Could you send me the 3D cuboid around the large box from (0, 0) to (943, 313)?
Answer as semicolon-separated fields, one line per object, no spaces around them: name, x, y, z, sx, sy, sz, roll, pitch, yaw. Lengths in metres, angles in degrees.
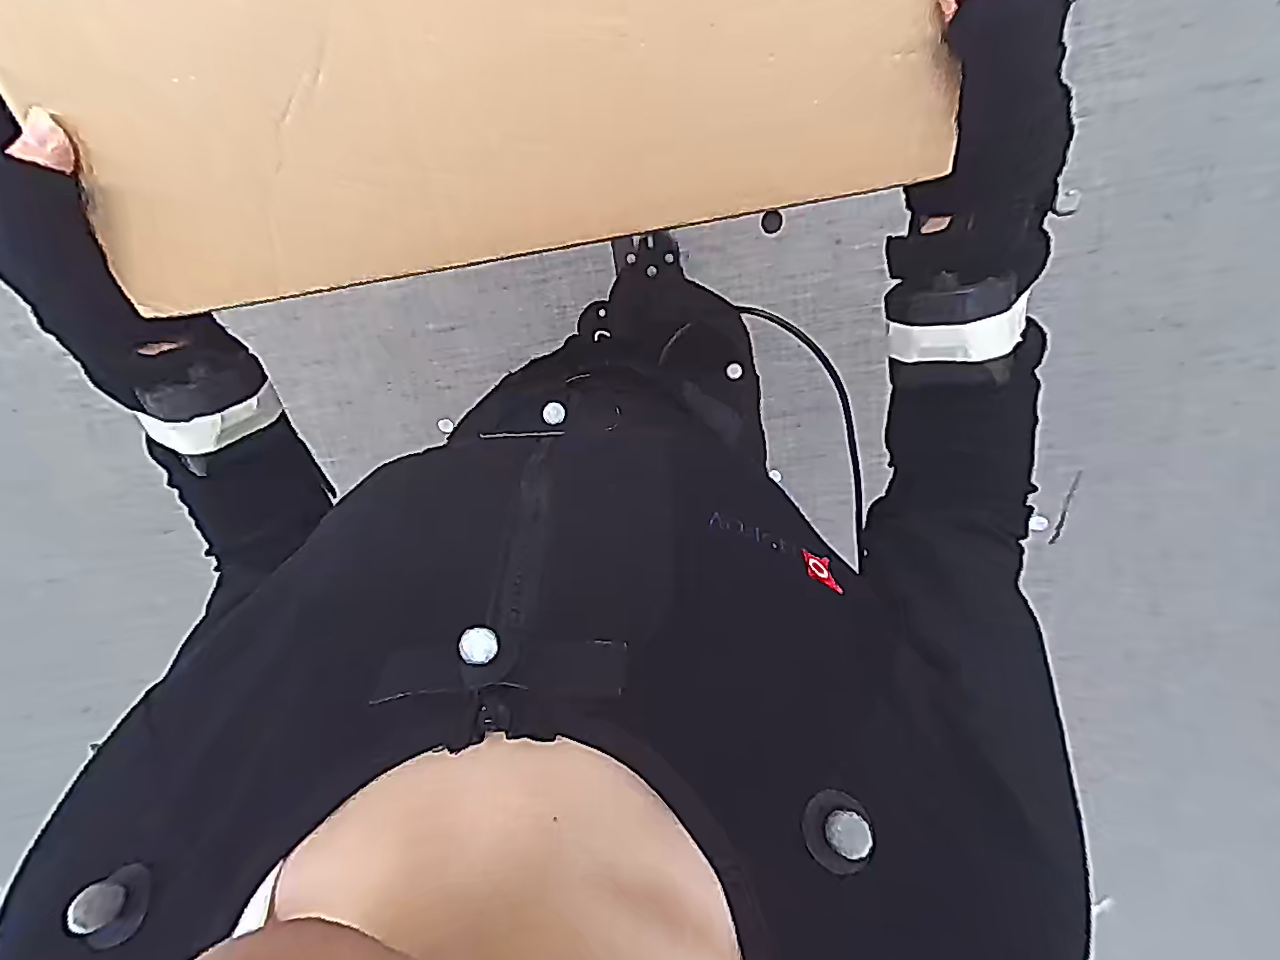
large box;-0.082;-0.325;0.328;0.408;0.320;0.320;-9;119;4
